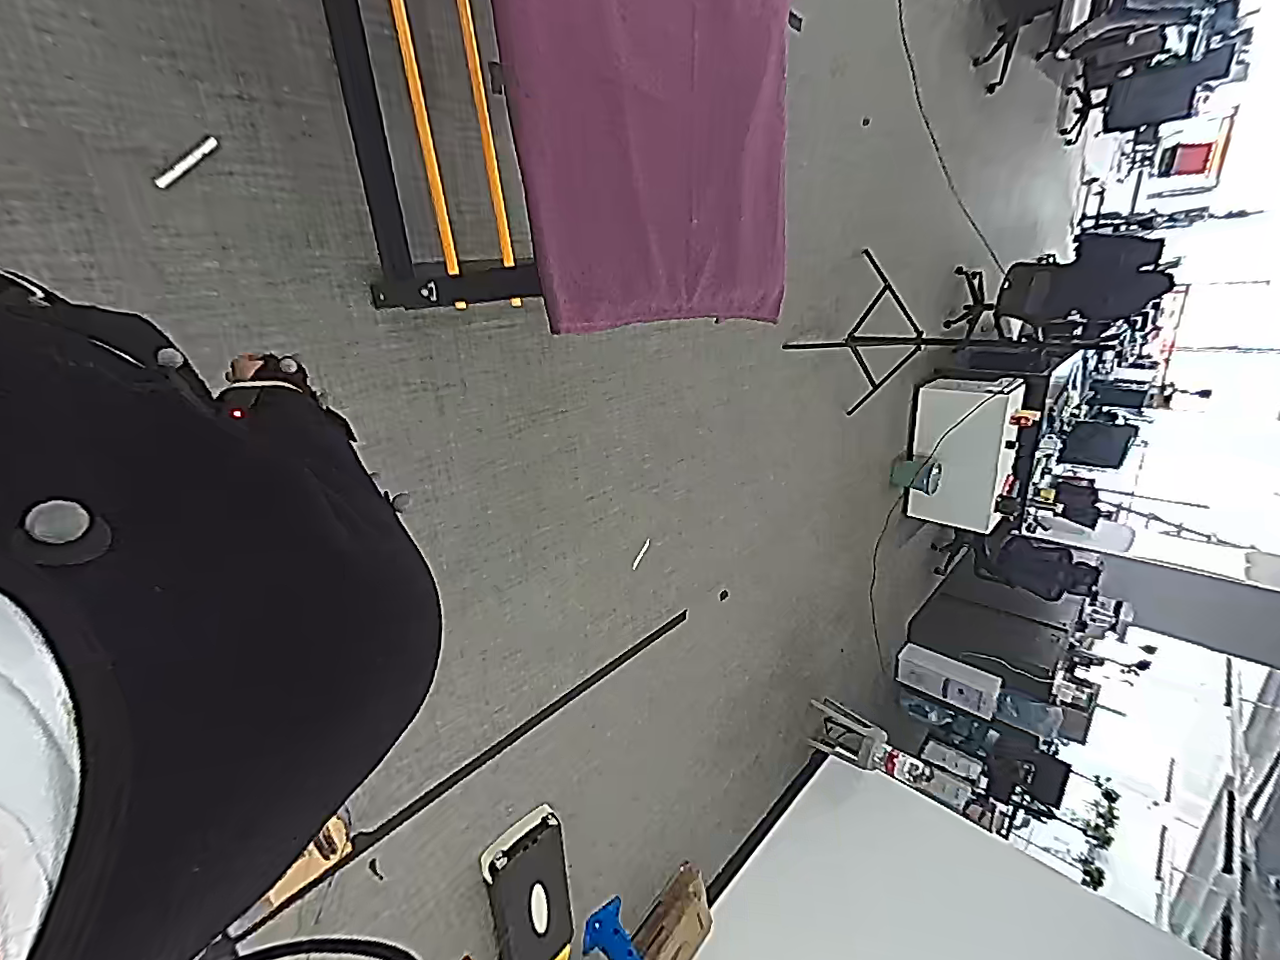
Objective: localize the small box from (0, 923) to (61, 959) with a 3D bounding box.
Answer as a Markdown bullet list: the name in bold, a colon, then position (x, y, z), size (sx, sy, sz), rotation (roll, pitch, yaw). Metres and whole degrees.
- **small box**: position (-1.183, 0.972, 0.979), size (0.168, 0.176, 0.179), rotation (-22, 116, -40)
